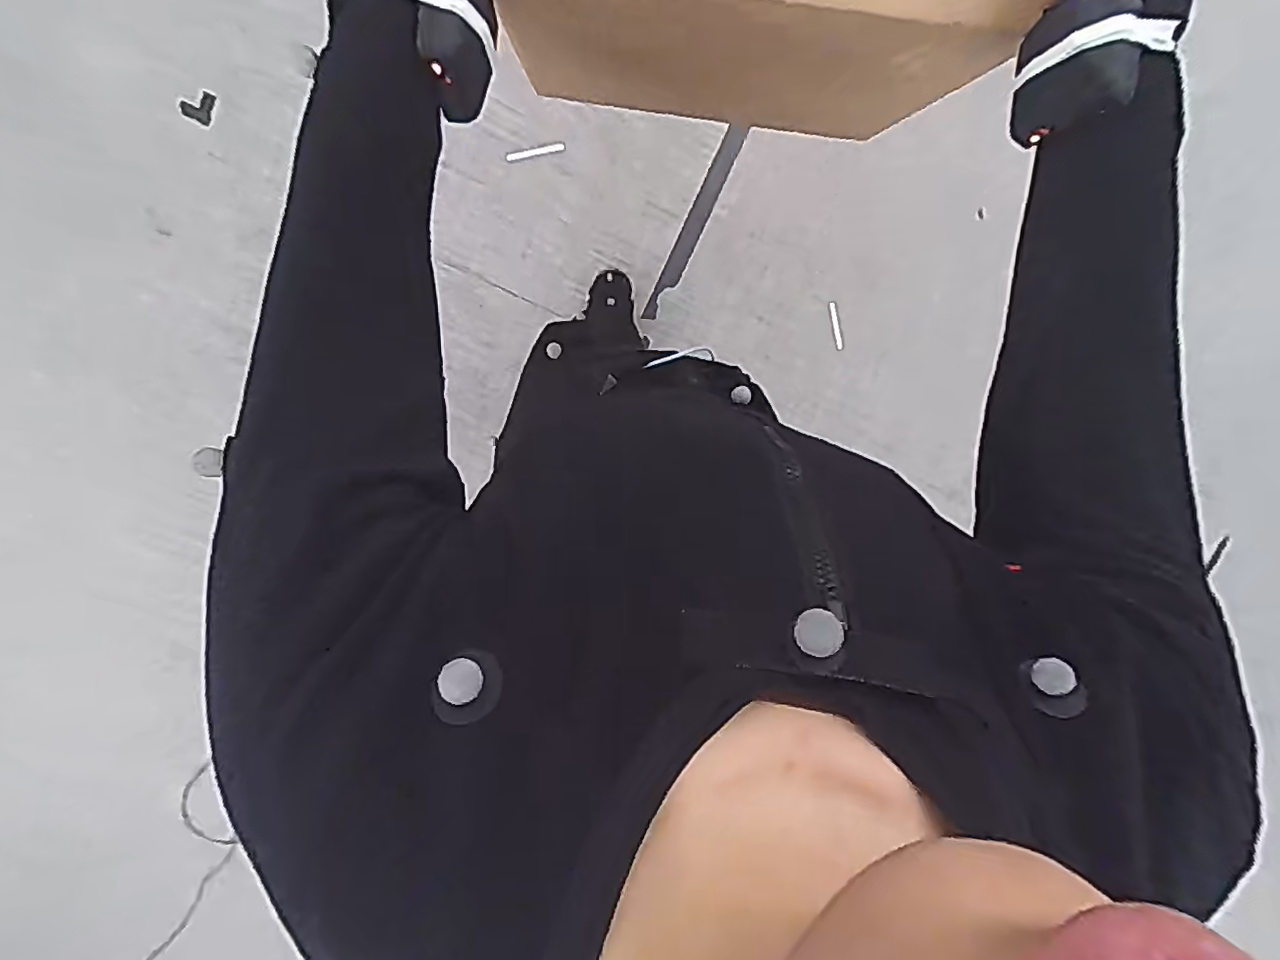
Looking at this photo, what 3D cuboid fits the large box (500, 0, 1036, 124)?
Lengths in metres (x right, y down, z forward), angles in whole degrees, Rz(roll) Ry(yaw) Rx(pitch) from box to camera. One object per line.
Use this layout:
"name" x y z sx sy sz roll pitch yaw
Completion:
"large box" 0.089 -0.537 0.459 0.408 0.320 0.320 5 111 -4
